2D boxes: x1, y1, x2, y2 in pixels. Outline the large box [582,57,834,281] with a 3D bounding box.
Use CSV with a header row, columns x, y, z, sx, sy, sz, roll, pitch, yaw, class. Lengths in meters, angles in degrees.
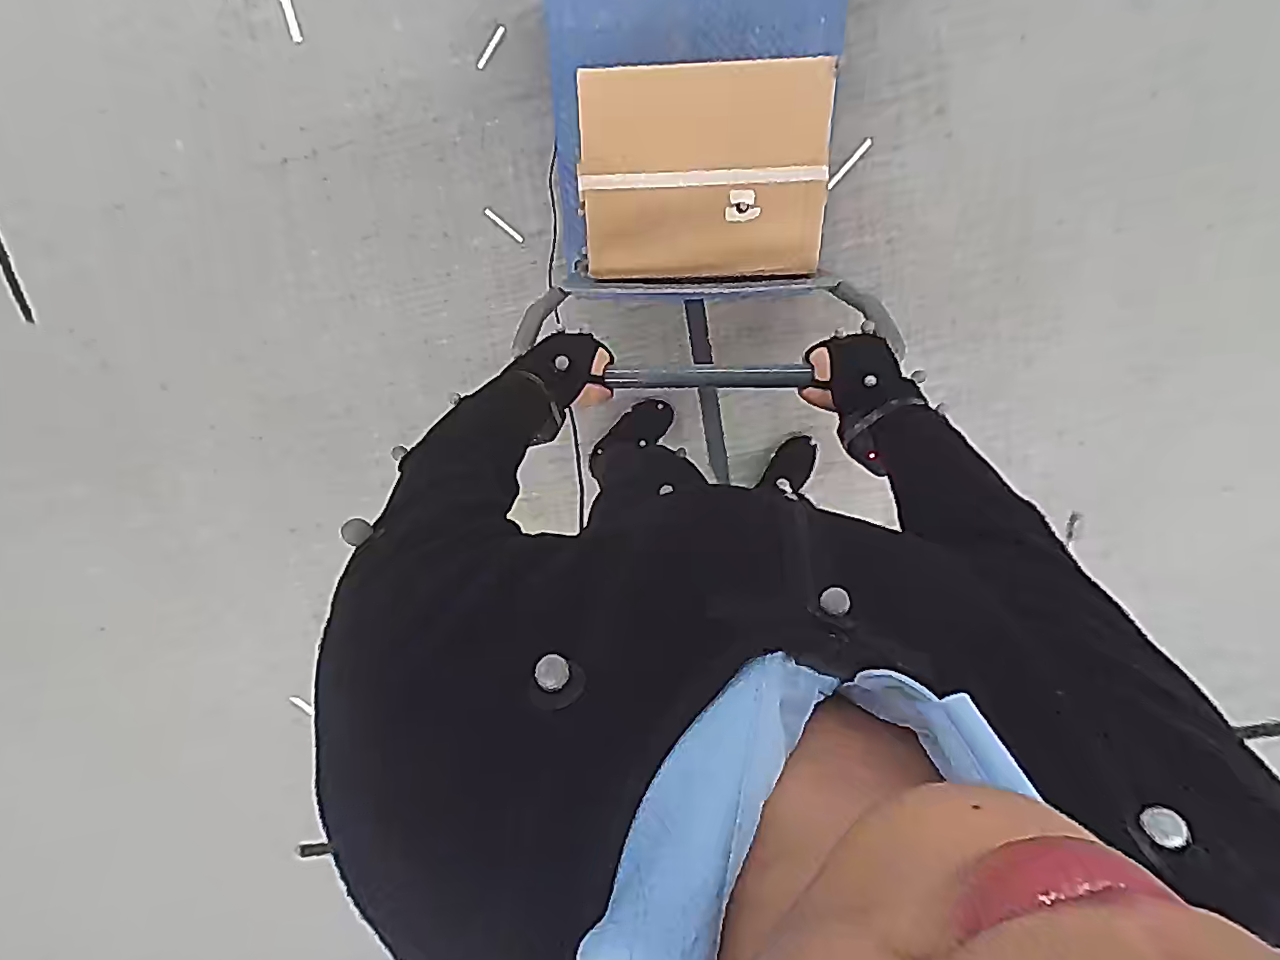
x,y,z,sx,sy,sz,roll,pitch,yaw,class
0.118,-0.571,1.049,0.408,0.320,0.320,-1,115,4,large box
